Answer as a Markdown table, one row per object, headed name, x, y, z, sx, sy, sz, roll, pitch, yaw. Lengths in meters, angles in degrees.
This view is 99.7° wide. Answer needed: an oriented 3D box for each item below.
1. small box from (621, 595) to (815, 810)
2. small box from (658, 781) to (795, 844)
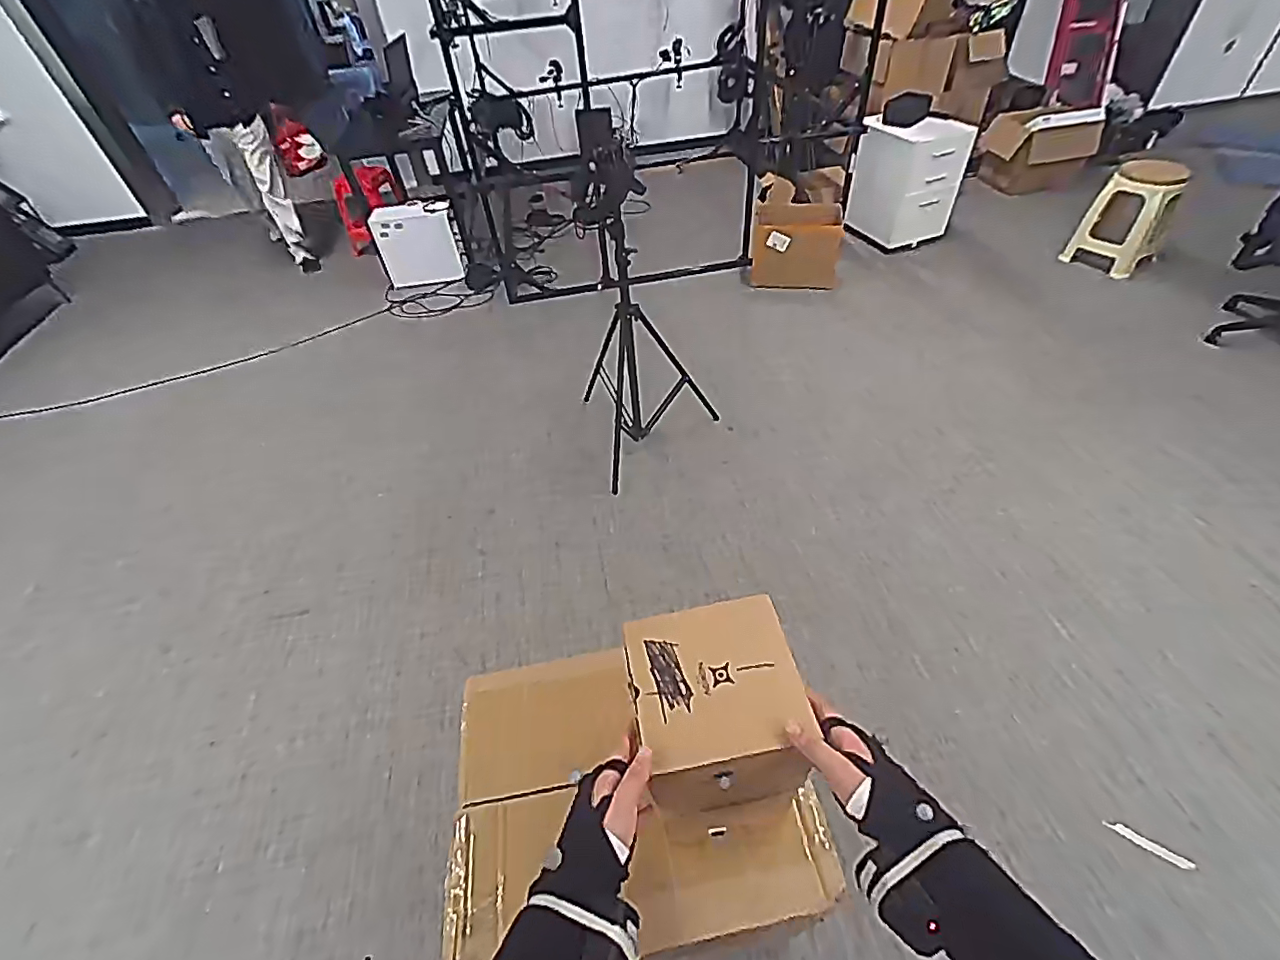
| name | x | y | z | sx | sy | sz | roll | pitch | yaw |
| --- | --- | --- | --- | --- | --- | --- | --- | --- | --- |
| small box | 0.084 | 0.262 | 0.631 | 0.179 | 0.176 | 0.168 | -11 | 47 | -2 |
| small box | 0.098 | 0.374 | 0.750 | 0.168 | 0.176 | 0.179 | -12 | 47 | -2 |
